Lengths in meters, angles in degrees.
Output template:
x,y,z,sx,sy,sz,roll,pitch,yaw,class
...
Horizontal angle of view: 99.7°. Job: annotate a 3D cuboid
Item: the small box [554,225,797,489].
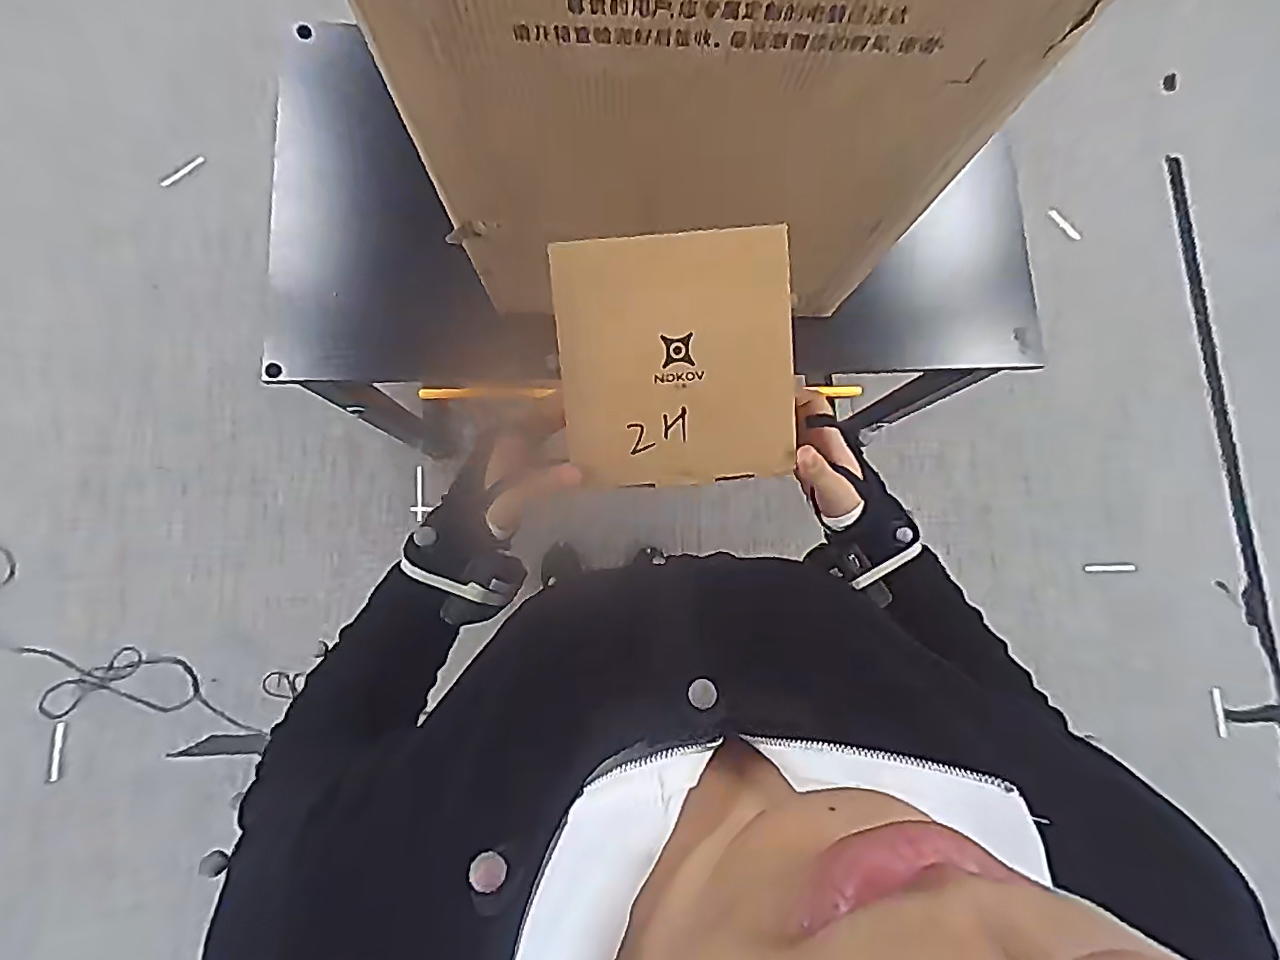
x,y,z,sx,sy,sz,roll,pitch,yaw,class
0.025,-0.094,0.460,0.168,0.176,0.179,-5,98,0,small box
